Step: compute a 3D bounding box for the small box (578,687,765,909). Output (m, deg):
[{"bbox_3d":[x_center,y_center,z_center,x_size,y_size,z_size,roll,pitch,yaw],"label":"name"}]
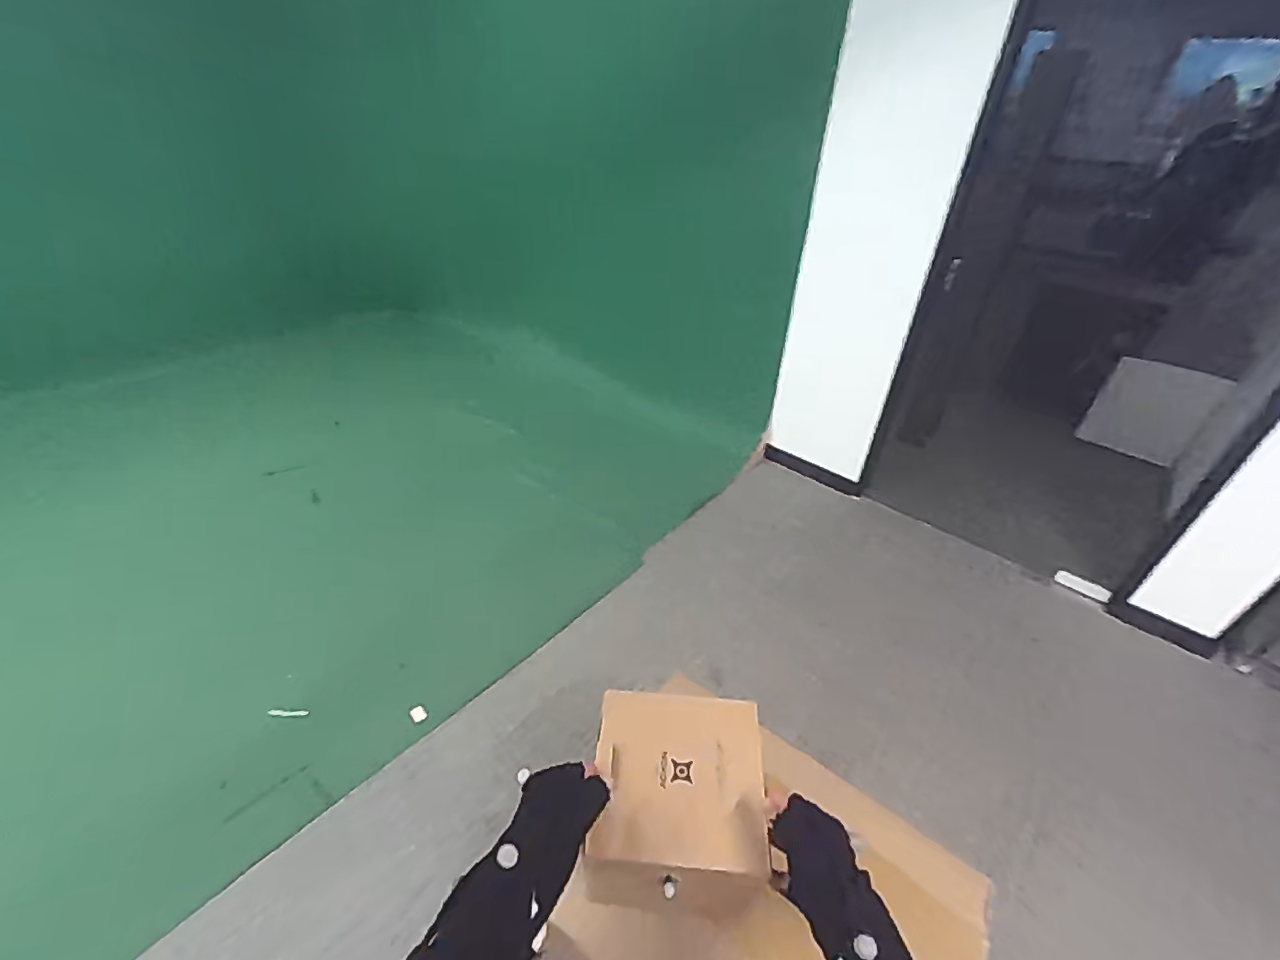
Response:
[{"bbox_3d":[0.030,0.355,0.605,0.179,0.176,0.168,4,40,0],"label":"small box"}]
